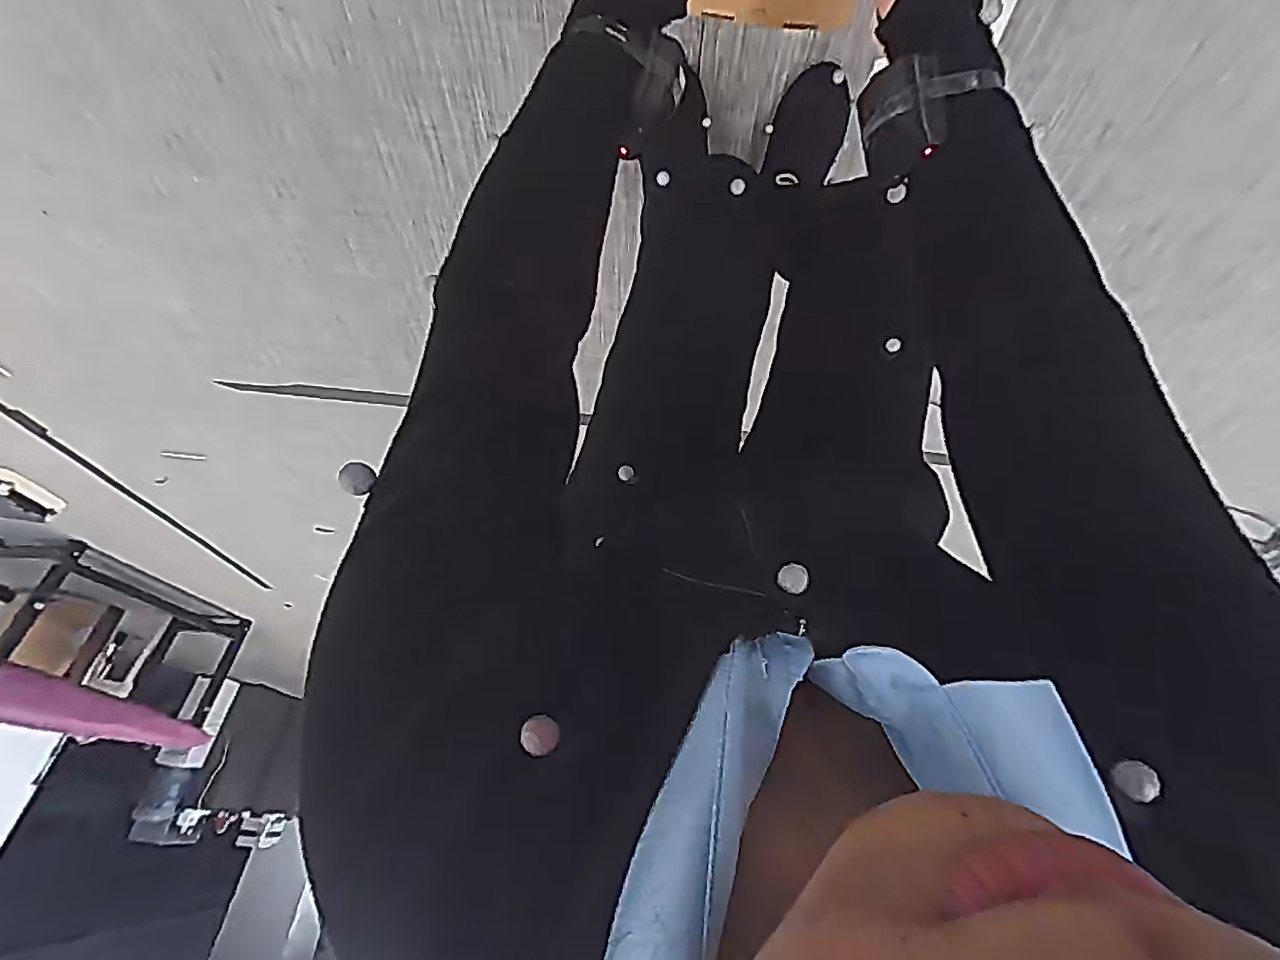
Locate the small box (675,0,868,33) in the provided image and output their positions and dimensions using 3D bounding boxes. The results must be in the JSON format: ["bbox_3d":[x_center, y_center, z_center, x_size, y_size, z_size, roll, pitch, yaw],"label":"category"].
[{"bbox_3d":[0.123,-0.513,0.441,0.168,0.176,0.179,7,148,-1],"label":"small box"}]
